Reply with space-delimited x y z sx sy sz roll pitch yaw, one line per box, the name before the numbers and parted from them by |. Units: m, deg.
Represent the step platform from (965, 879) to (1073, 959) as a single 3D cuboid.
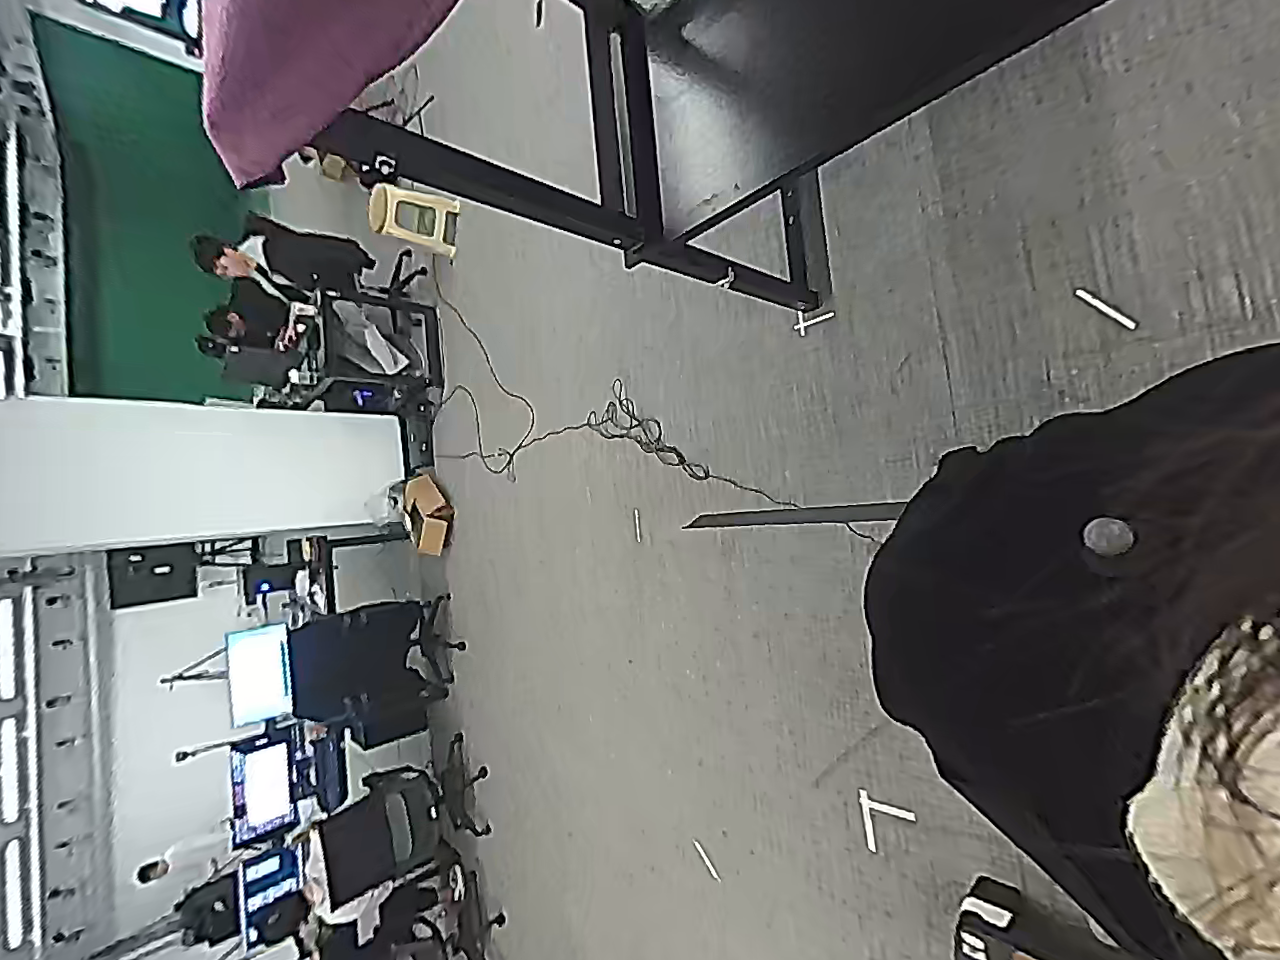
step platform | 1.029 1.128 1.049 0.684 0.204 0.286 0 92 47
